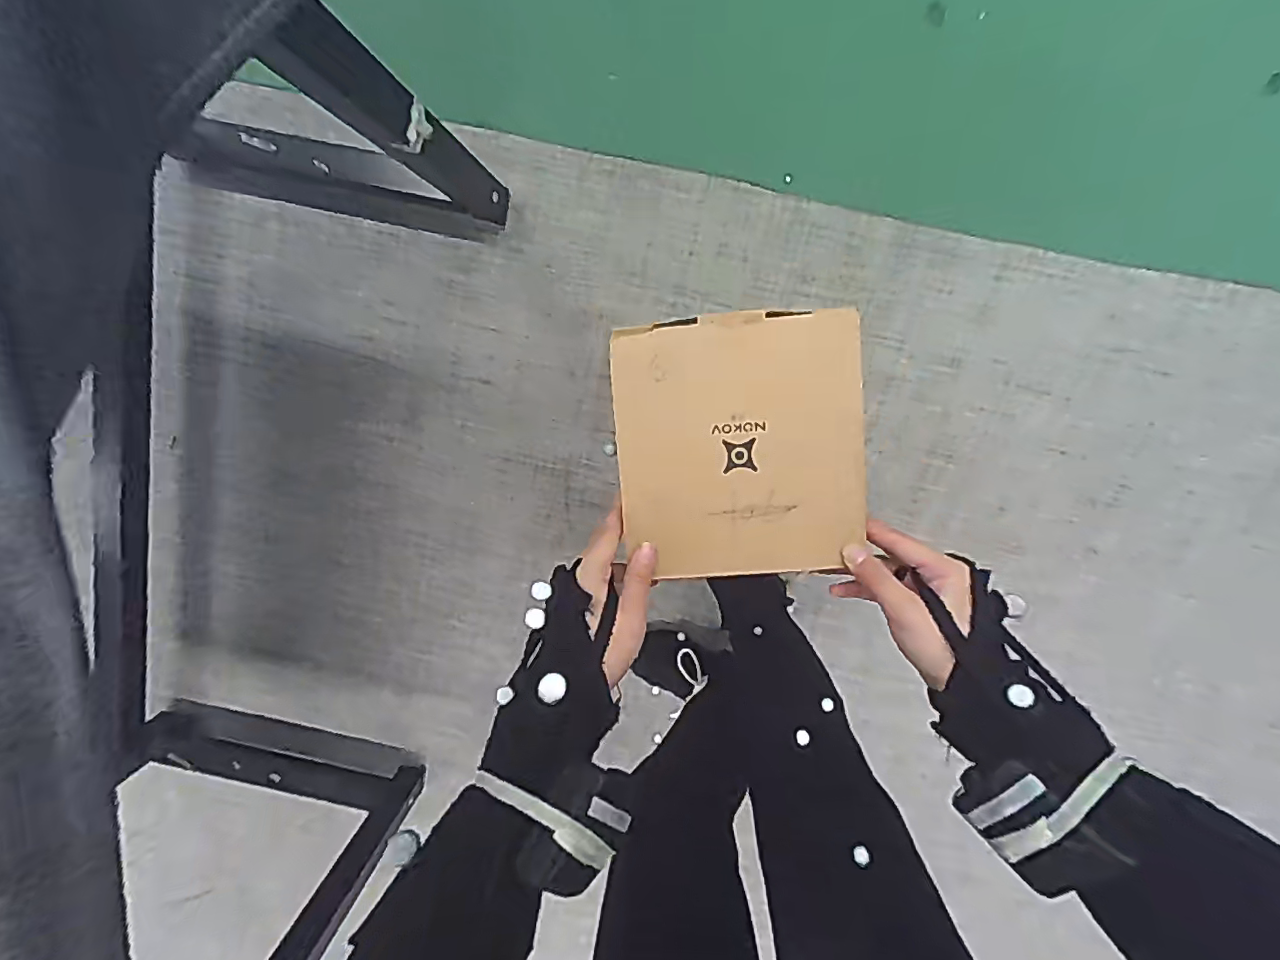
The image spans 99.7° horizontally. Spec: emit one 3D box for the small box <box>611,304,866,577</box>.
[{"bbox_3d":[0.071,-0.033,0.443,0.168,0.176,0.179,-5,98,4],"label":"small box"}]
